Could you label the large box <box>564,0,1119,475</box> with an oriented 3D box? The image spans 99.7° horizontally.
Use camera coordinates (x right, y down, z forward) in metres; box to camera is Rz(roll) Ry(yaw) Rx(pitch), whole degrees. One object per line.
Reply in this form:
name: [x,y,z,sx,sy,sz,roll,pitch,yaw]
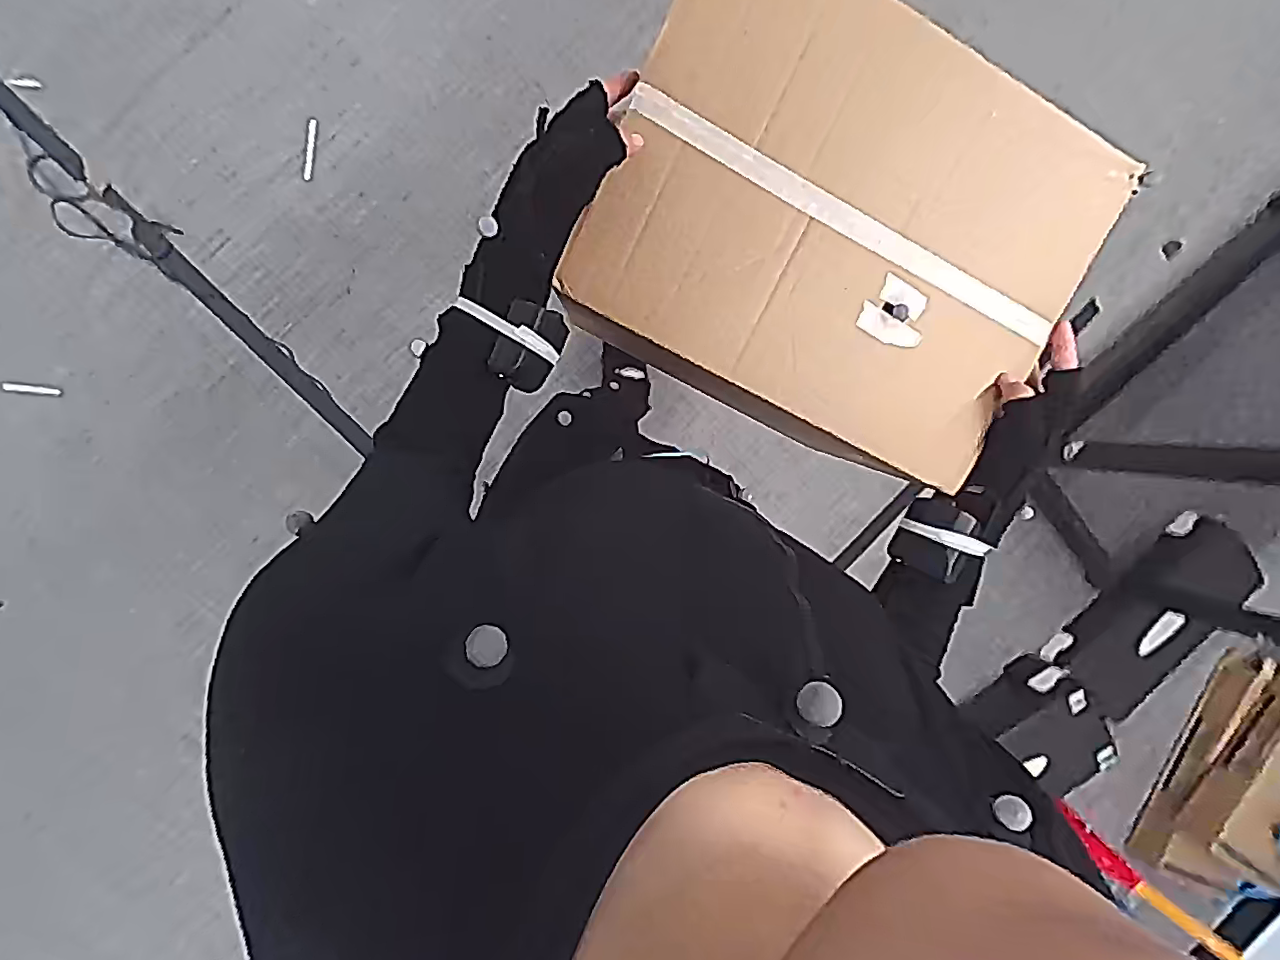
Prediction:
large box: [0.162,-0.247,0.604,0.408,0.320,0.320,26,99,-9]
